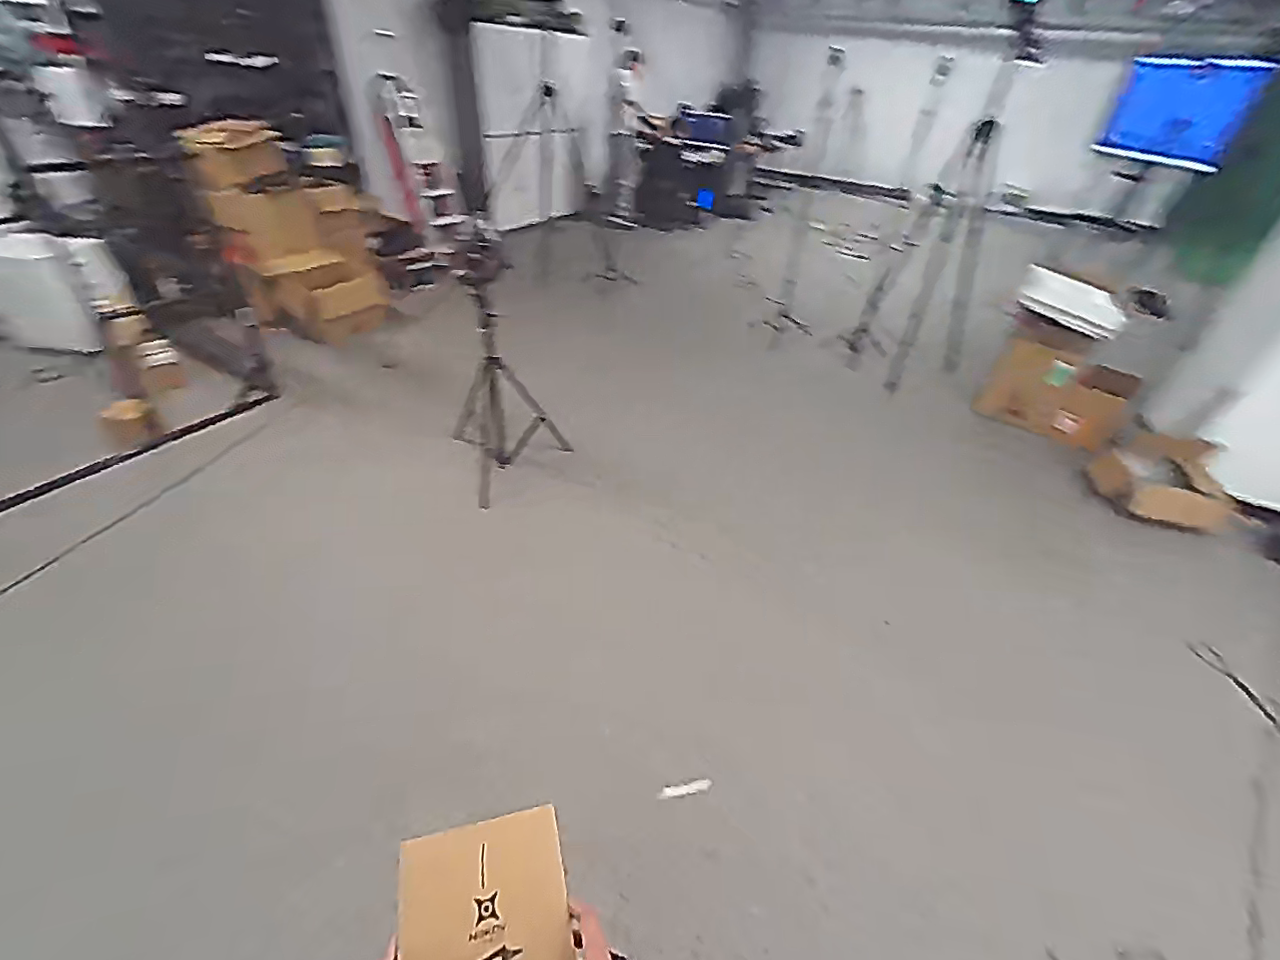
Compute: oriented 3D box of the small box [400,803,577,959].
[{"bbox_3d":[-0.164,0.488,0.596,0.168,0.176,0.179,-4,48,-17],"label":"small box"}]
